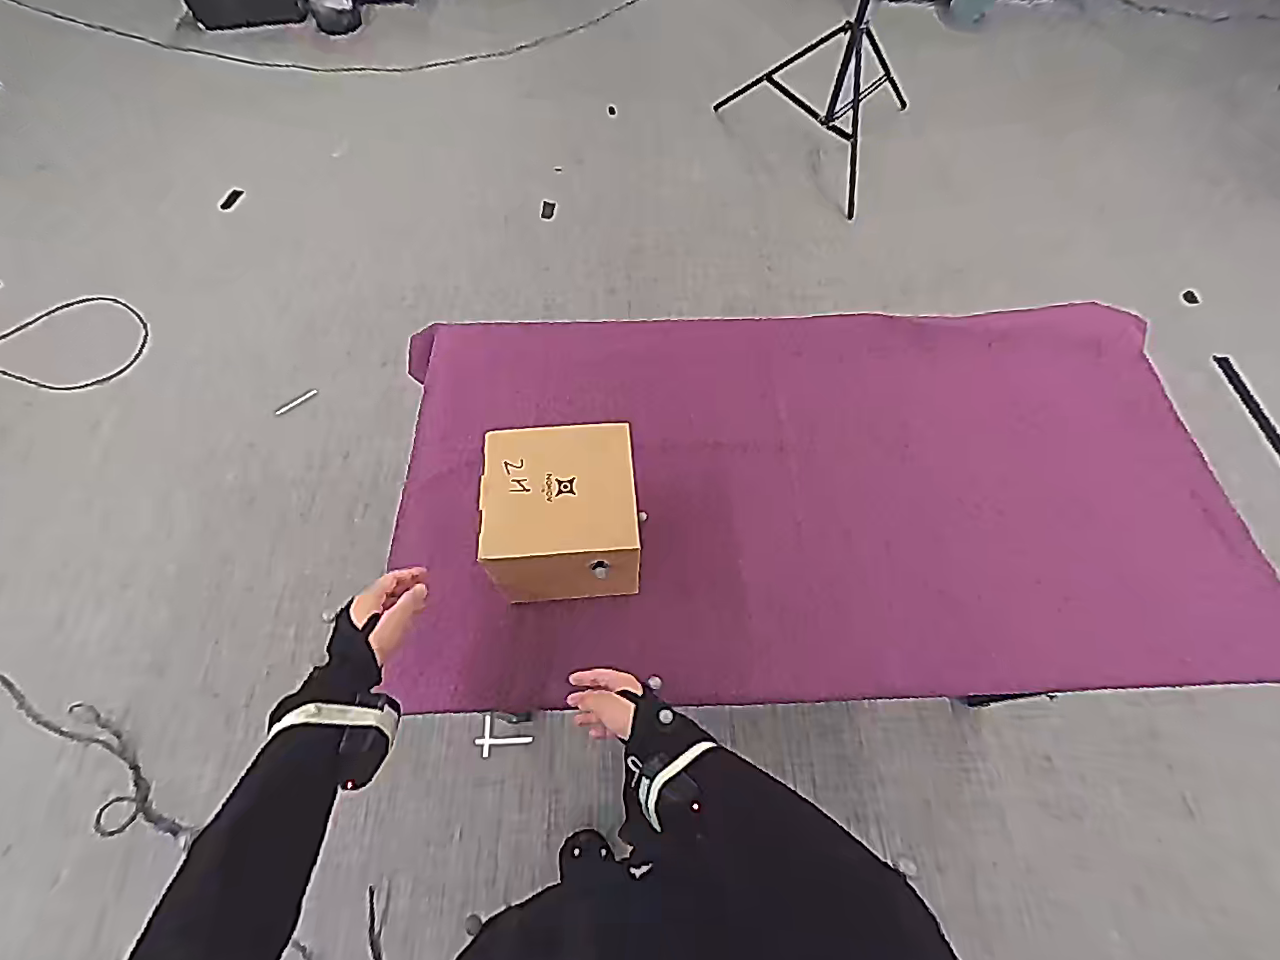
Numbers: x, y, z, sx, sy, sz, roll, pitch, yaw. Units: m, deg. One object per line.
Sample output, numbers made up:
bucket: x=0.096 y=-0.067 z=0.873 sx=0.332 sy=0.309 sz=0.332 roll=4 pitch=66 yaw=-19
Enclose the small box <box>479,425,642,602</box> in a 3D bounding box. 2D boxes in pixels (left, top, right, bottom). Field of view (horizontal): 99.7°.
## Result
small box: x=-0.092 y=0.048 z=0.684 sx=0.179 sy=0.176 sz=0.168 roll=-4 pitch=61 yaw=-3
